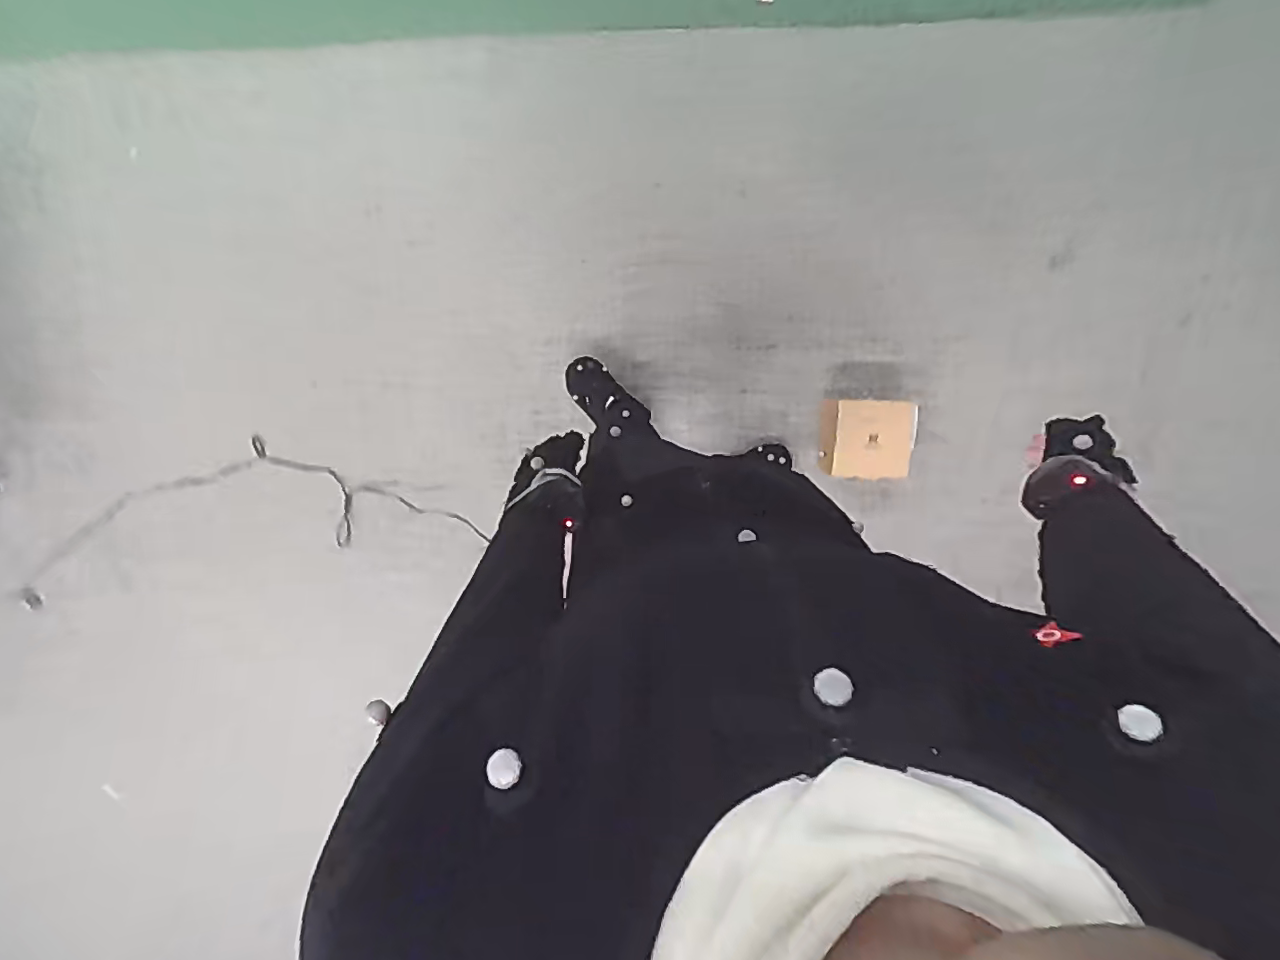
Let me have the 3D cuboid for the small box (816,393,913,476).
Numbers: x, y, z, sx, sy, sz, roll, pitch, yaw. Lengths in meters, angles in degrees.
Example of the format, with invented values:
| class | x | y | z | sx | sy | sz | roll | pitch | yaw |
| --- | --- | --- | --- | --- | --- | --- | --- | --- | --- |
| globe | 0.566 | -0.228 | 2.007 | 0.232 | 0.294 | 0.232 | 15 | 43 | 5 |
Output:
| class | x | y | z | sx | sy | sz | roll | pitch | yaw |
| --- | --- | --- | --- | --- | --- | --- | --- | --- | --- |
| small box | 0.523 | -0.112 | 1.286 | 0.168 | 0.176 | 0.179 | 2 | 101 | 5 |
